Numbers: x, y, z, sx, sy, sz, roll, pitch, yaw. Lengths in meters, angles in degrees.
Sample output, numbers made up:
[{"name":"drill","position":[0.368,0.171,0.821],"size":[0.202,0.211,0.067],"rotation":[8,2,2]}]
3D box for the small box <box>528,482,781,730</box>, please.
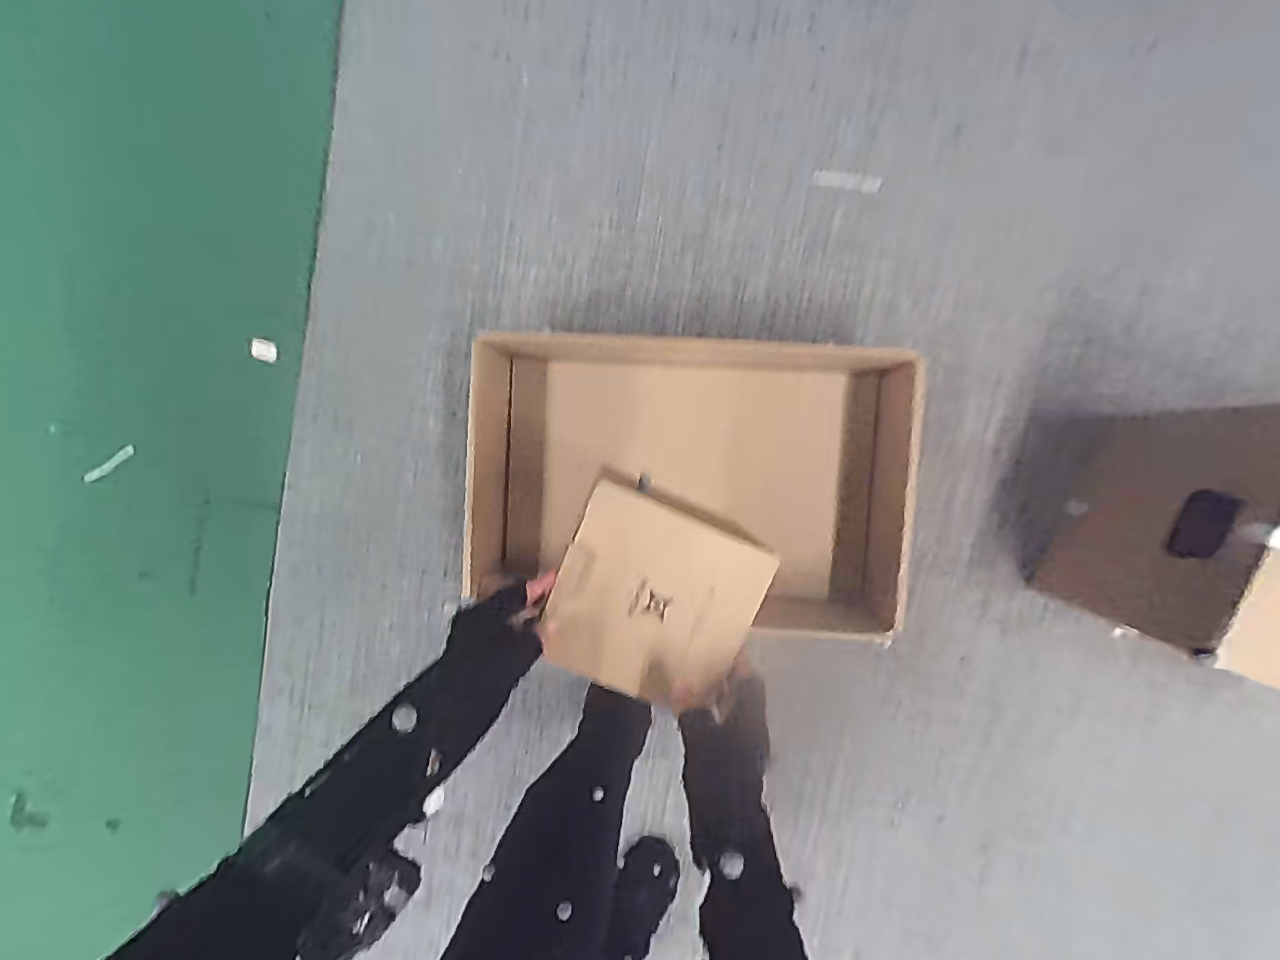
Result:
[{"name":"small box","position":[0.009,0.109,0.546],"size":[0.179,0.176,0.168],"rotation":[22,94,-5]}]
